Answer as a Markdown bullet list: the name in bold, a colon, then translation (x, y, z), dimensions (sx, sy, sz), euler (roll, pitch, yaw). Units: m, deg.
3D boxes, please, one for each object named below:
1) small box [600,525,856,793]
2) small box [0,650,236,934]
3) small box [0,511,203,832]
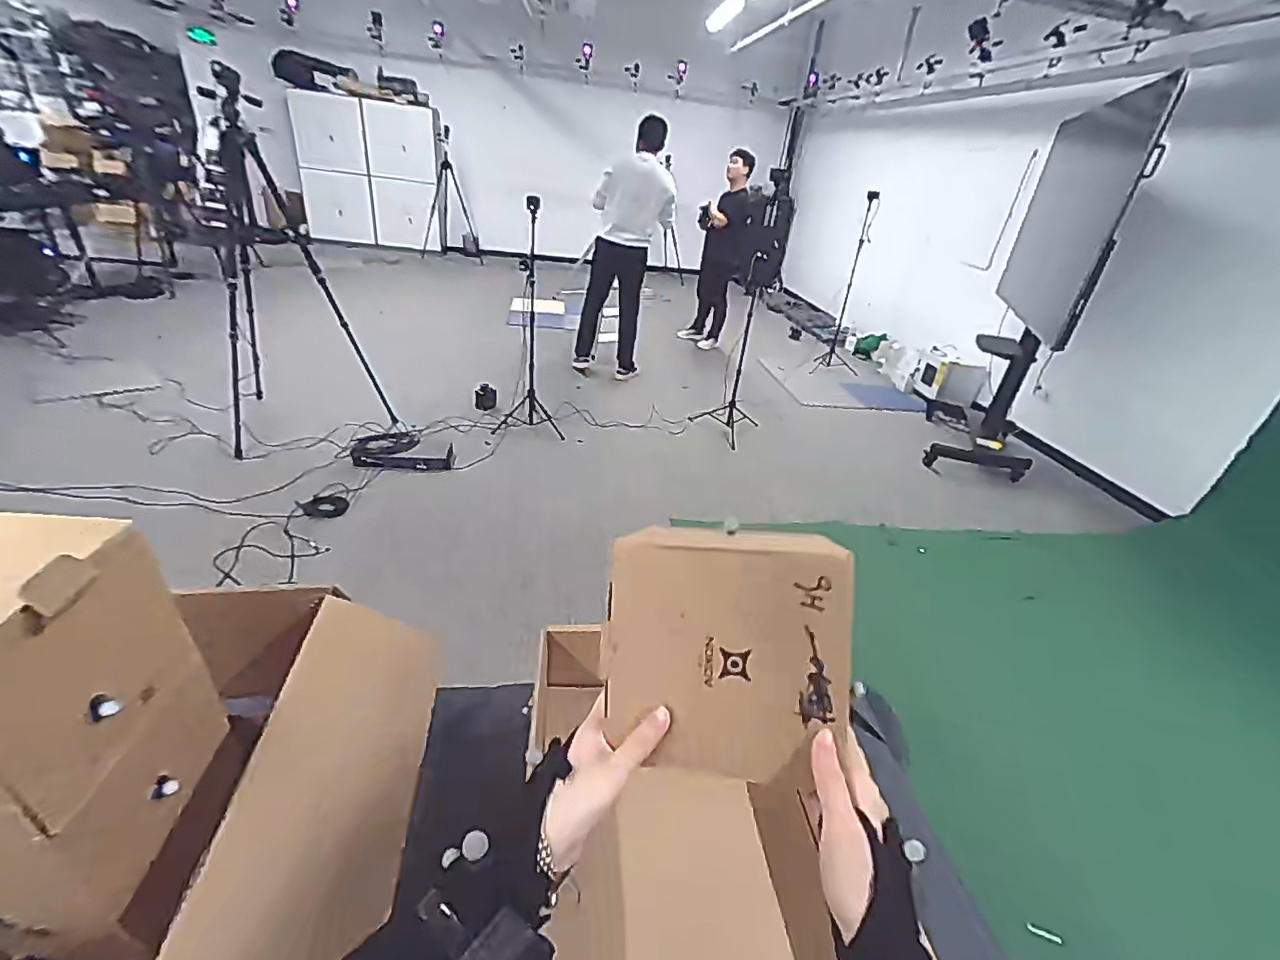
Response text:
- **small box**: translation (0.076, 0.130, 0.467), dimensions (0.179, 0.168, 0.176), euler (3, 1, 12)
- **small box**: translation (-0.511, 0.276, 0.496), dimensions (0.168, 0.176, 0.179), euler (4, 32, -7)
- **small box**: translation (-0.493, 0.140, 0.411), dimensions (0.179, 0.176, 0.168), euler (5, 31, -7)
